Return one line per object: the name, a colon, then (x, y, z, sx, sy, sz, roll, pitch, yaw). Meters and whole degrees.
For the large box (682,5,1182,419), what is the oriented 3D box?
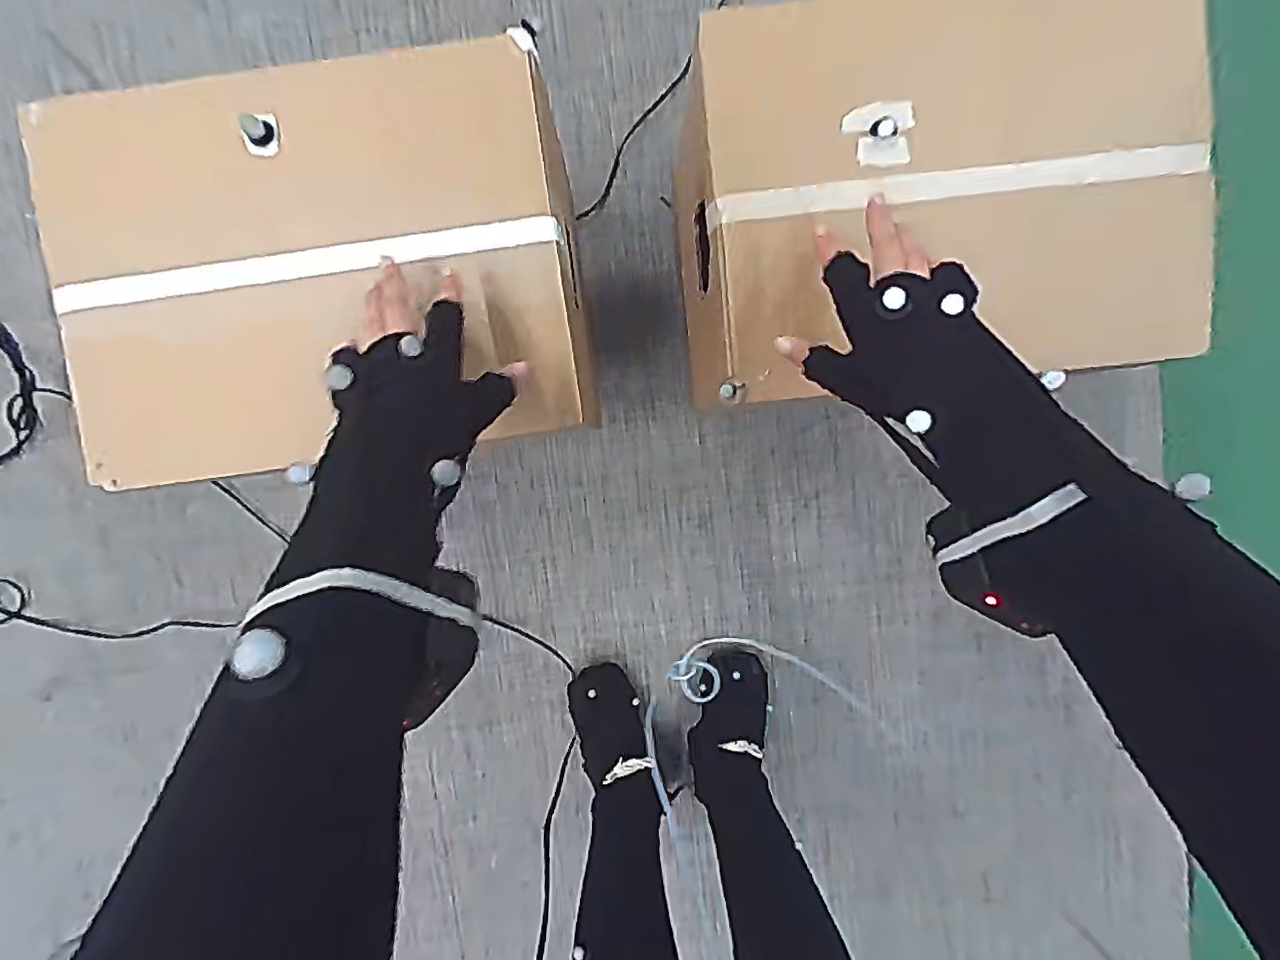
large box: (0.270, -0.243, 0.619, 0.408, 0.320, 0.320, -5, 94, 0)
